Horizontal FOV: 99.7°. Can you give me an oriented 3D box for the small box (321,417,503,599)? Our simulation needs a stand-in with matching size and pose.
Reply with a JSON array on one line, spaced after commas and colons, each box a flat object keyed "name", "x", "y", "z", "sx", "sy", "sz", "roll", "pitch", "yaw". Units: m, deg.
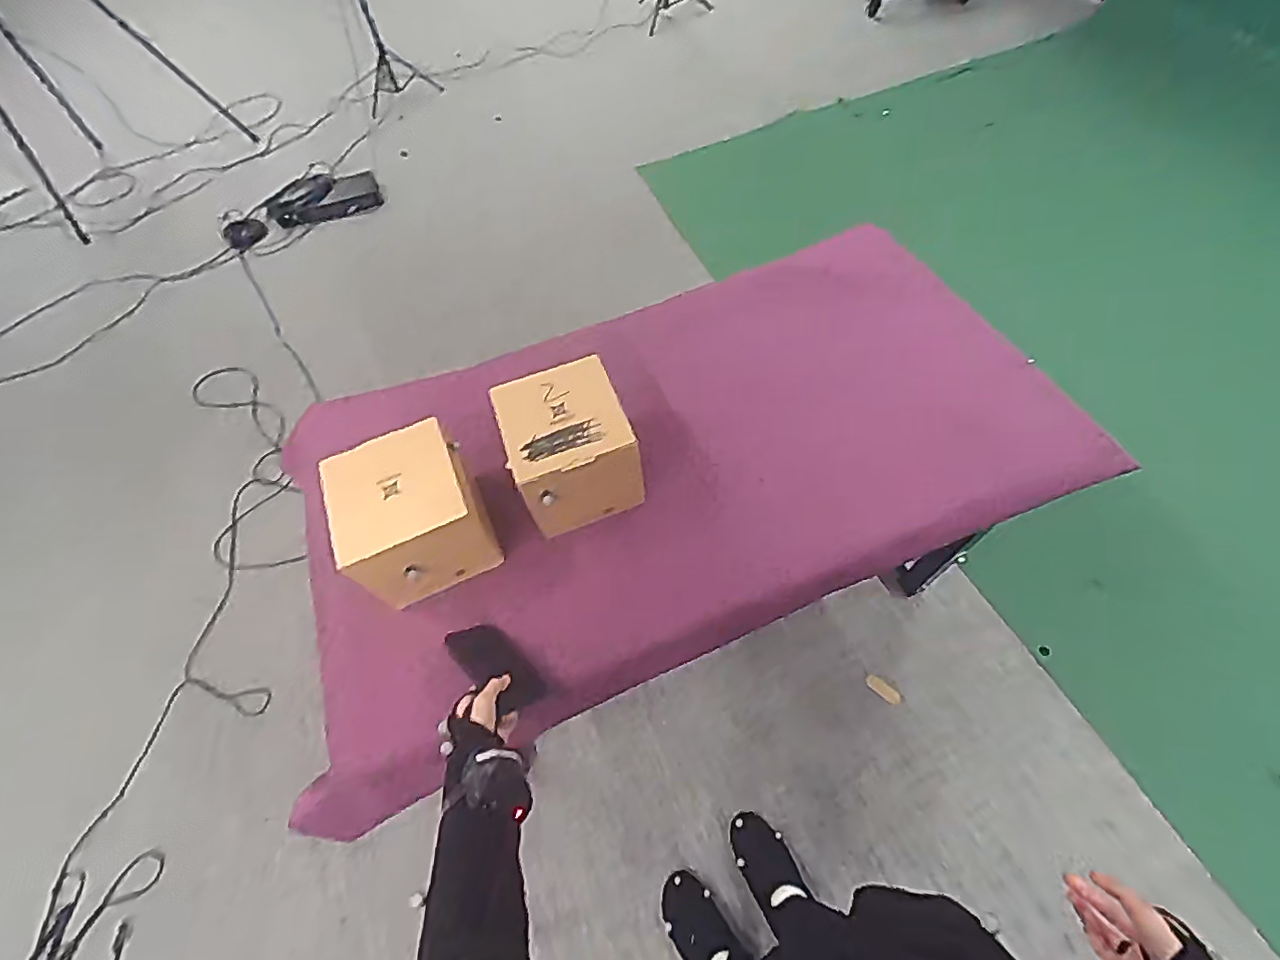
[{"name": "small box", "x": -0.313, "y": 0.050, "z": 0.766, "sx": 0.168, "sy": 0.176, "sz": 0.179, "roll": -24, "pitch": 59, "yaw": -9}]
